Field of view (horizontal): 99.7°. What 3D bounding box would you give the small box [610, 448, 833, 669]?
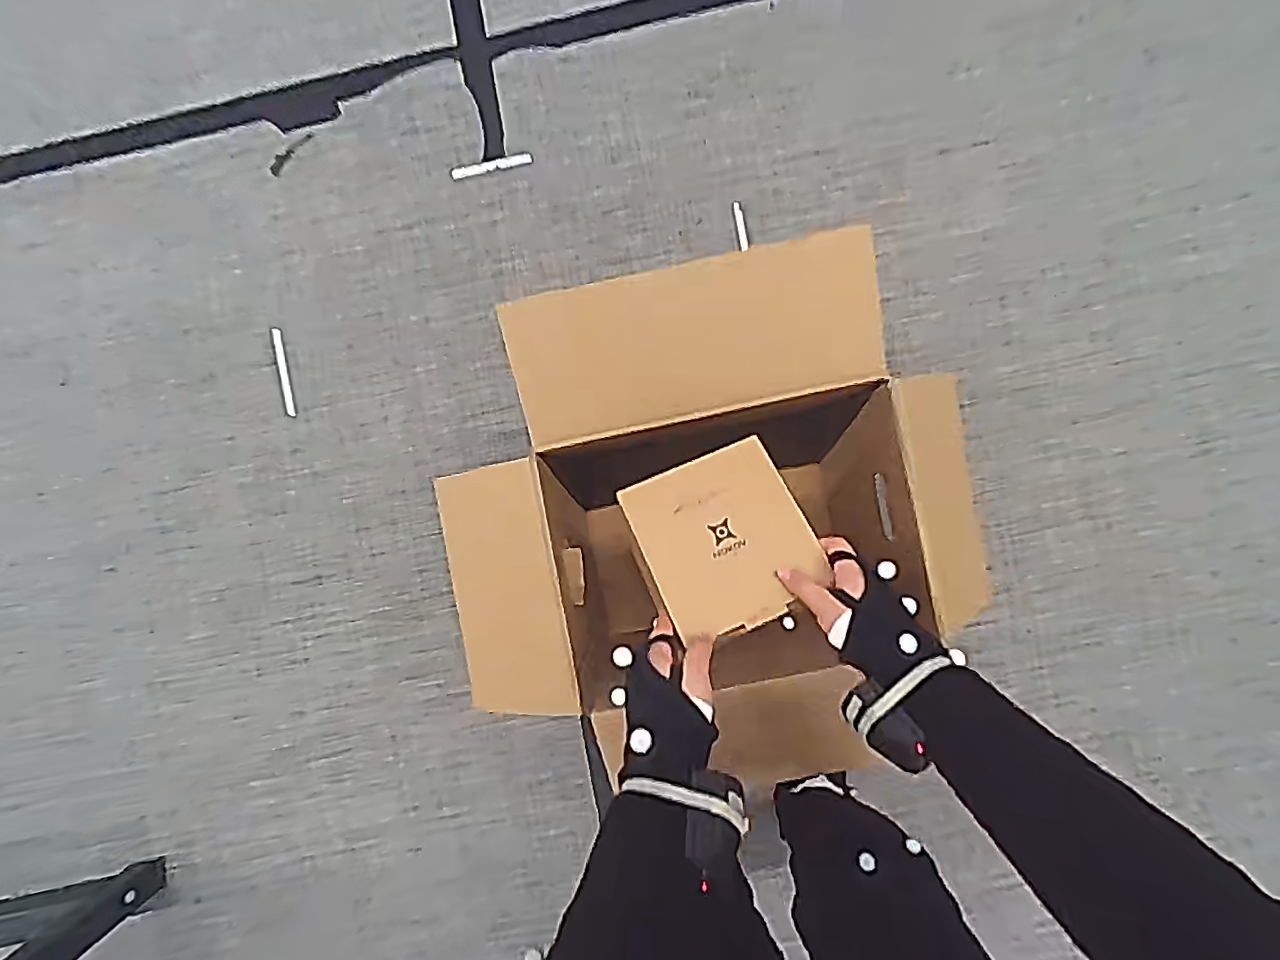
[{"bbox_3d":[0.082,0.098,0.604,0.168,0.176,0.179,-23,67,-7],"label":"small box"}]
